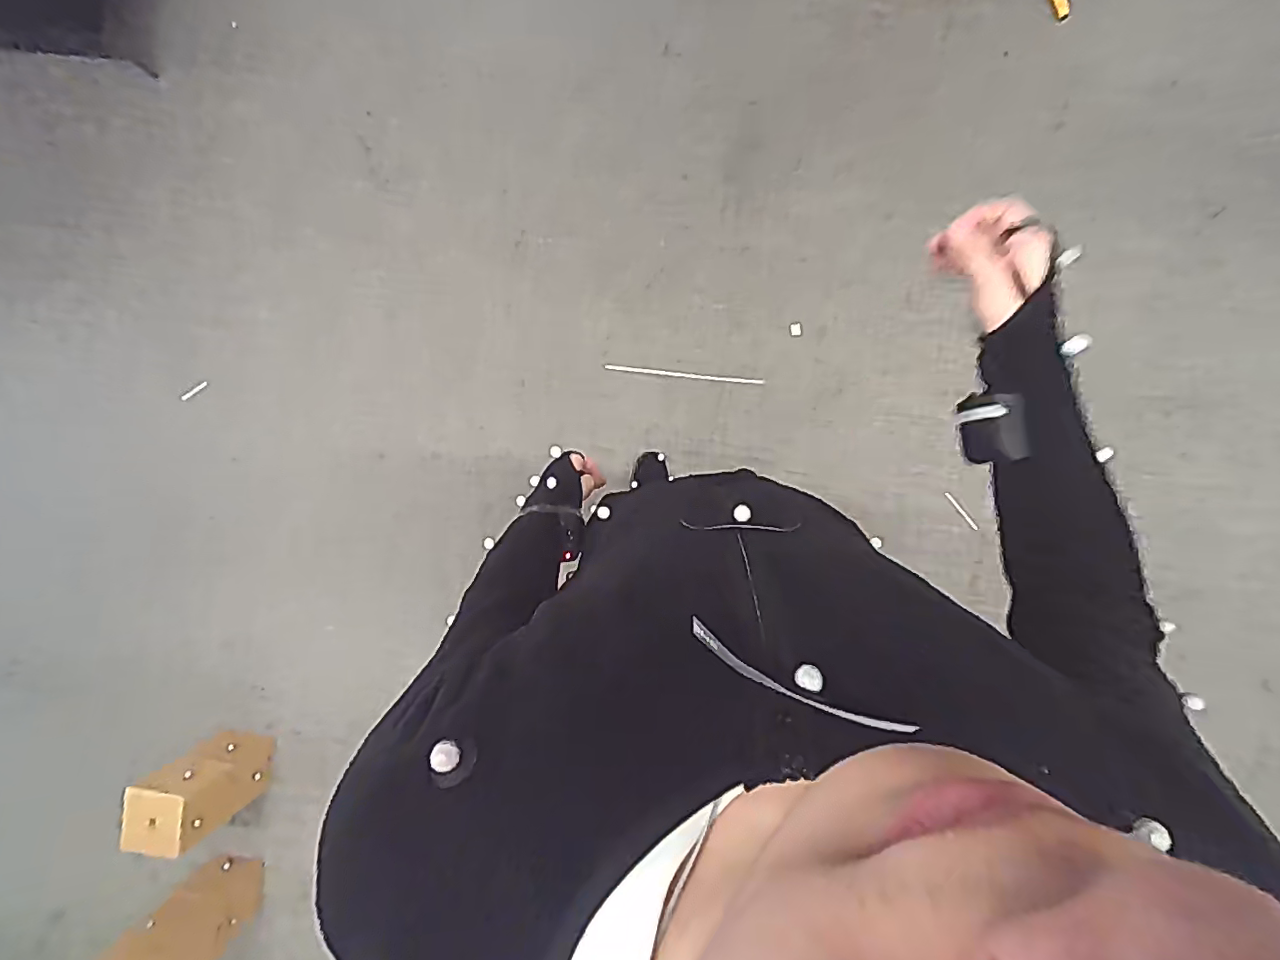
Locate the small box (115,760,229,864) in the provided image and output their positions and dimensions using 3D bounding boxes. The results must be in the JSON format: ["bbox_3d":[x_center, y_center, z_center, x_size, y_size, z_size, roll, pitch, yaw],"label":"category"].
[{"bbox_3d":[-1.276,0.902,1.487,0.168,0.176,0.179,7,92,4],"label":"small box"}]

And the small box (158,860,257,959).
[{"bbox_3d":[-1.315,1.318,1.655,0.168,0.176,0.179,7,91,3],"label":"small box"}]

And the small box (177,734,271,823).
[{"bbox_3d":[-1.272,0.903,1.649,0.179,0.176,0.168,9,90,3],"label":"small box"}]
